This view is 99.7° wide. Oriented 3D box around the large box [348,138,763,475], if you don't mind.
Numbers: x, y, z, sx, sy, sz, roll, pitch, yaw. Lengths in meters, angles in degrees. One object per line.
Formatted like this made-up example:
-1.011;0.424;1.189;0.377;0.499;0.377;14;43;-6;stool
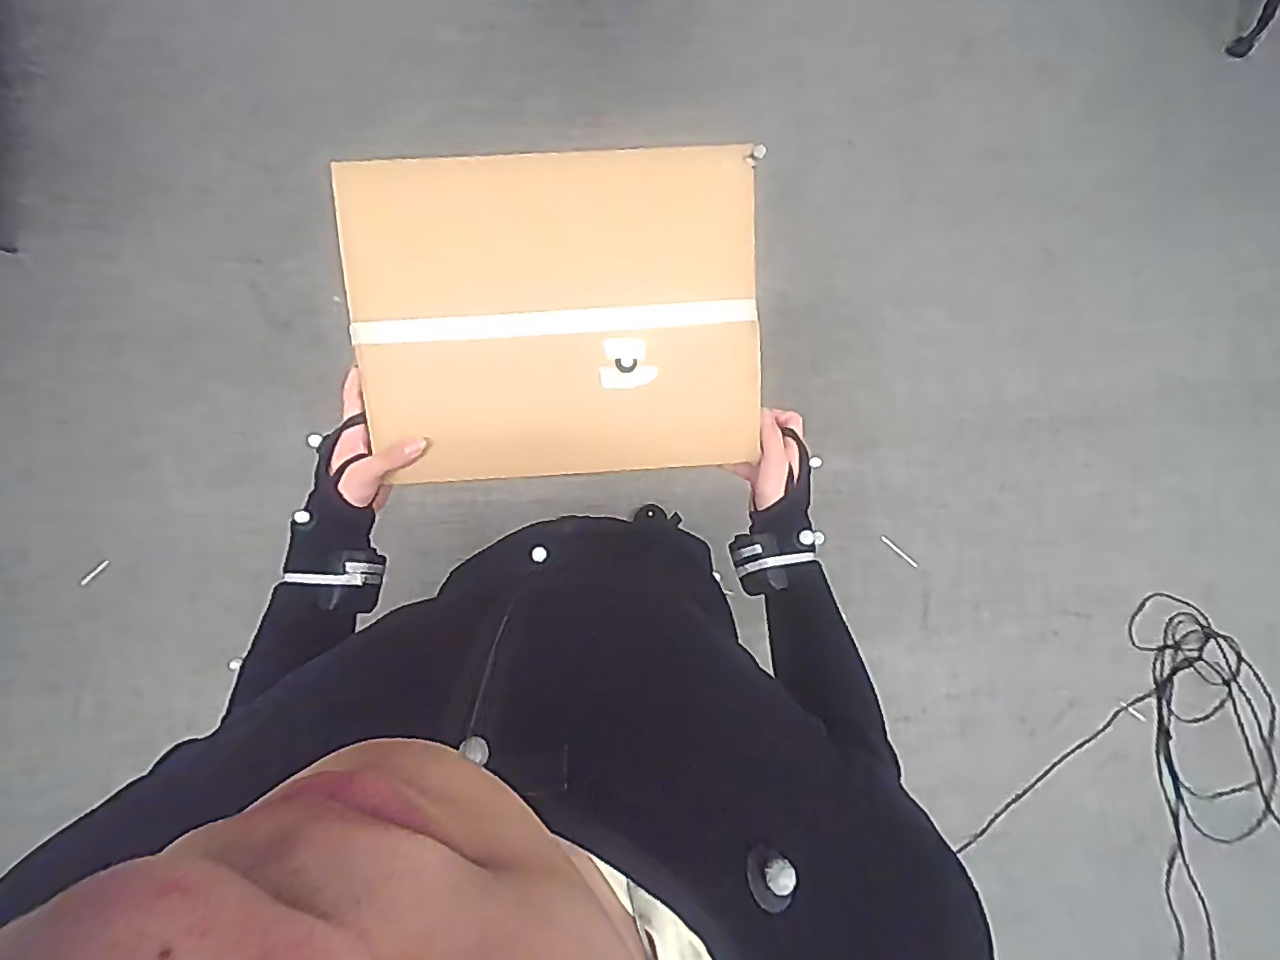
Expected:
-0.084;-0.196;0.697;0.408;0.320;0.320;-4;101;-2;large box
